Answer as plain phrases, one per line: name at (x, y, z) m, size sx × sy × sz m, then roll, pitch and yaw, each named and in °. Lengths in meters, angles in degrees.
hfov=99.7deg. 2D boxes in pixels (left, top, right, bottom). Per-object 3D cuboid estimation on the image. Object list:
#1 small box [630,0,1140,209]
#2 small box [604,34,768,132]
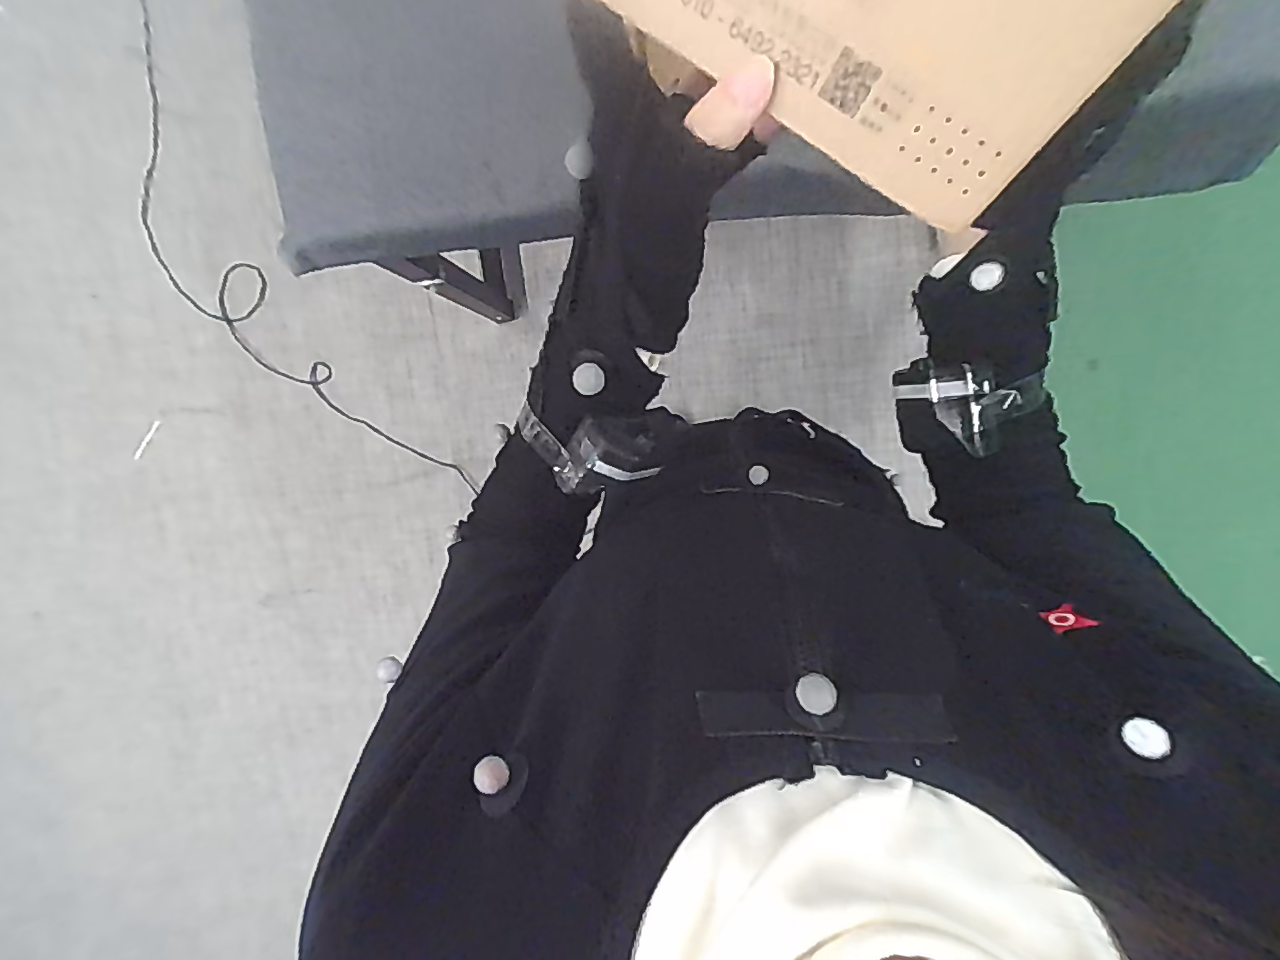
small box at (0.109, -0.235, 0.188) m, size 0.168 × 0.179 × 0.176 m, roll 34°, pitch 141°, yaw -1°
small box at (0.055, -0.493, 0.563) m, size 0.179 × 0.176 × 0.168 m, roll -2°, pitch 96°, yaw 5°
